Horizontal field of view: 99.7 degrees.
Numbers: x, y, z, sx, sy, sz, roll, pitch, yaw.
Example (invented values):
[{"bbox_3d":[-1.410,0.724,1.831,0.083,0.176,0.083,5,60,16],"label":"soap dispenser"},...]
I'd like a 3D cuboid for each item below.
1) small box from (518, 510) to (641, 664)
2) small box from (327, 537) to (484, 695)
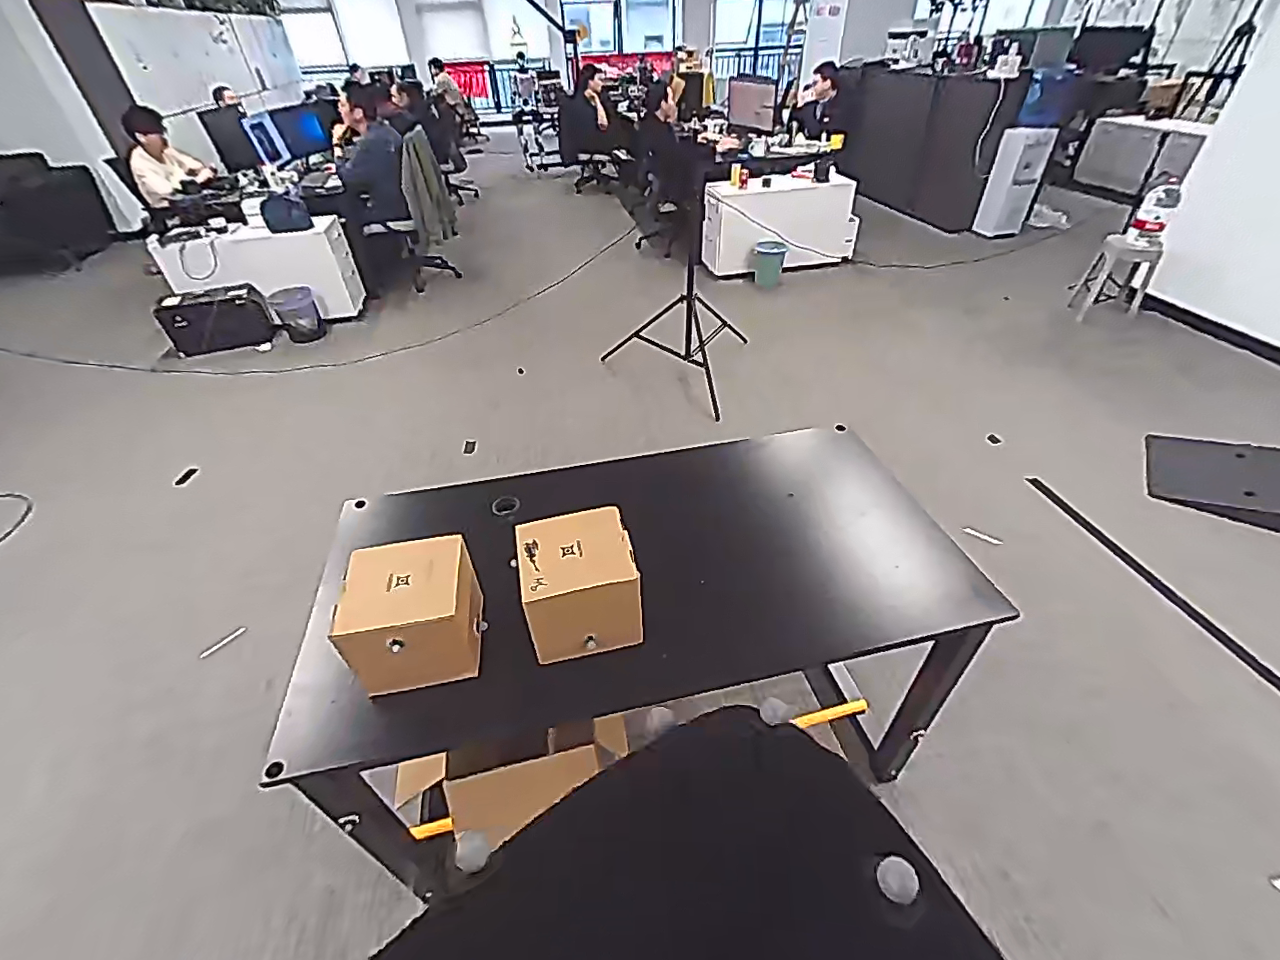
[{"bbox_3d":[-0.099,0.176,0.896,0.179,0.176,0.168,-10,40,-10],"label":"small box"},{"bbox_3d":[-0.357,0.217,0.861,0.179,0.176,0.168,-8,41,-8],"label":"small box"}]
